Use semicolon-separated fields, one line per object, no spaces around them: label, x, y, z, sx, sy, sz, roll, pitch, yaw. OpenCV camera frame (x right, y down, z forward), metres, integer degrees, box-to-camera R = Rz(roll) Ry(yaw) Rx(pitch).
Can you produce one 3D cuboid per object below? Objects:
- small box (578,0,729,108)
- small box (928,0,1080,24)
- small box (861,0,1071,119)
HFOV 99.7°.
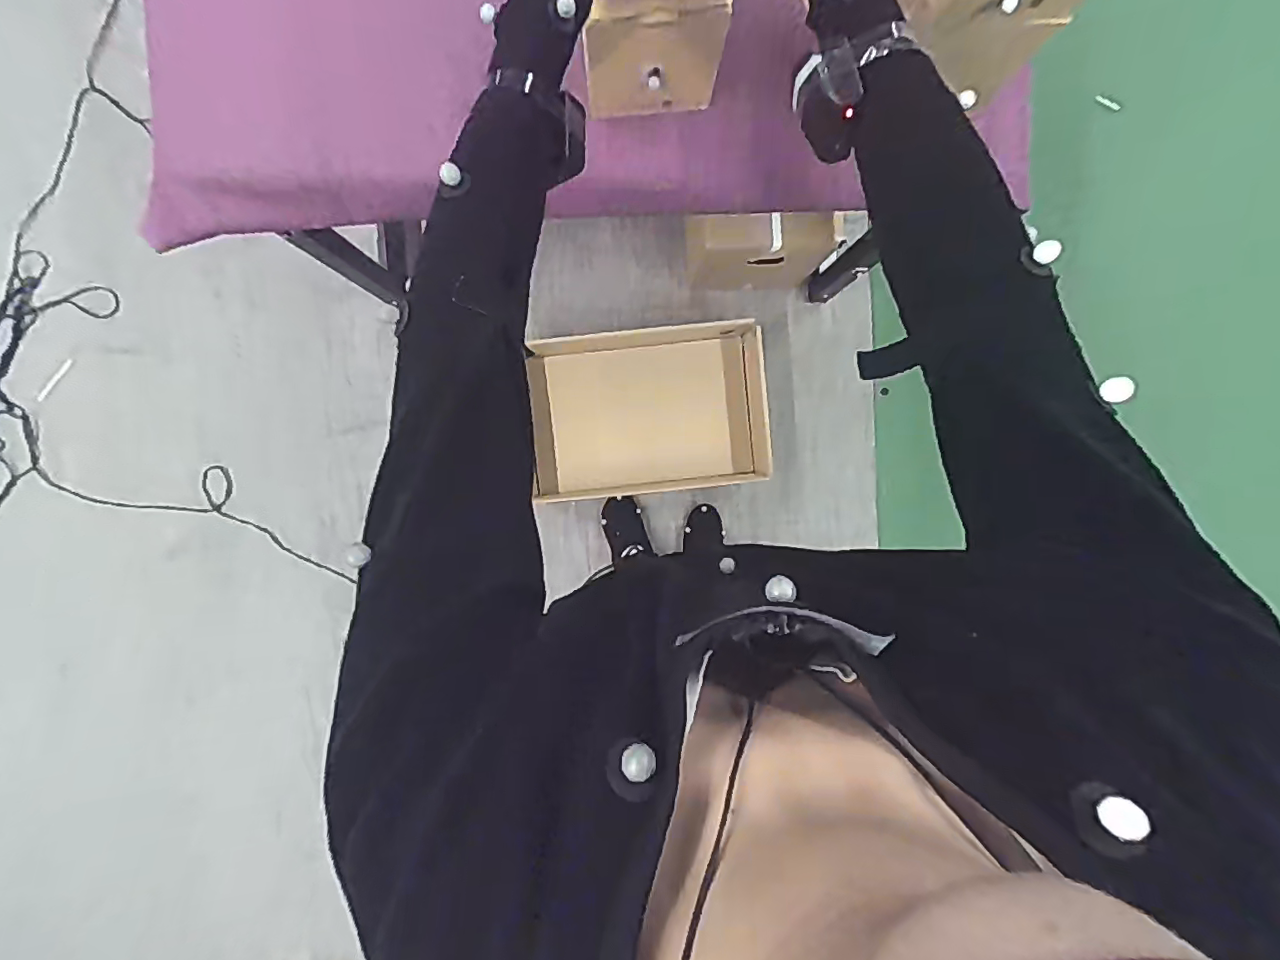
small box;0.007;-0.590;0.661;0.168;0.176;0.179;-6;92;-2
small box;0.388;-0.588;0.510;0.168;0.176;0.179;-5;92;0
small box;0.389;-0.591;0.673;0.168;0.176;0.179;-2;92;-1
